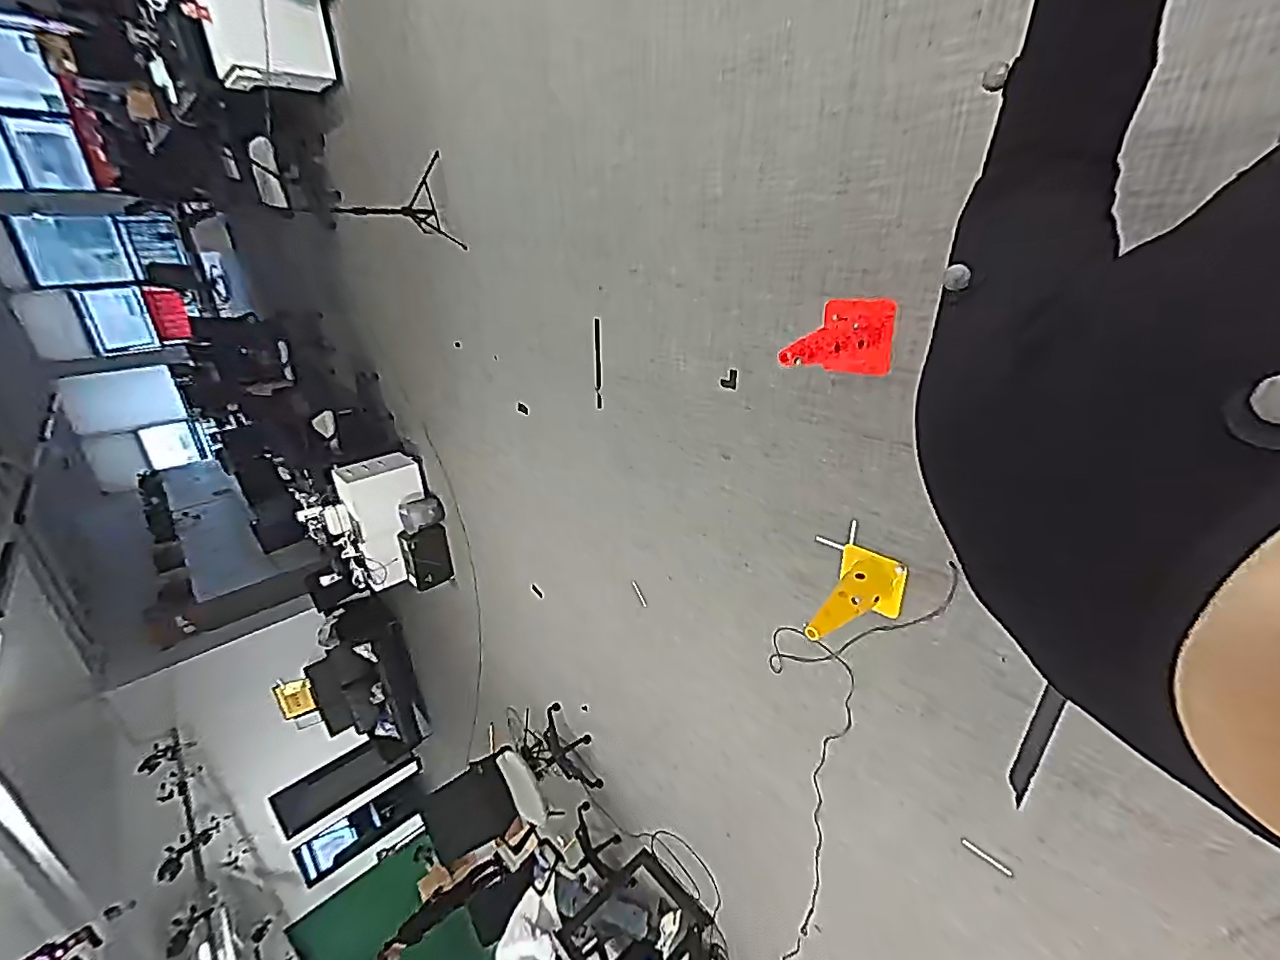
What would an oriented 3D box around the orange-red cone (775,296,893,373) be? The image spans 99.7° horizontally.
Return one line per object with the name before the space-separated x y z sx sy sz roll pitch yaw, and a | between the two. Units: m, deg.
orange-red cone | 0.470 -0.348 1.395 0.198 0.360 0.199 22 125 44
